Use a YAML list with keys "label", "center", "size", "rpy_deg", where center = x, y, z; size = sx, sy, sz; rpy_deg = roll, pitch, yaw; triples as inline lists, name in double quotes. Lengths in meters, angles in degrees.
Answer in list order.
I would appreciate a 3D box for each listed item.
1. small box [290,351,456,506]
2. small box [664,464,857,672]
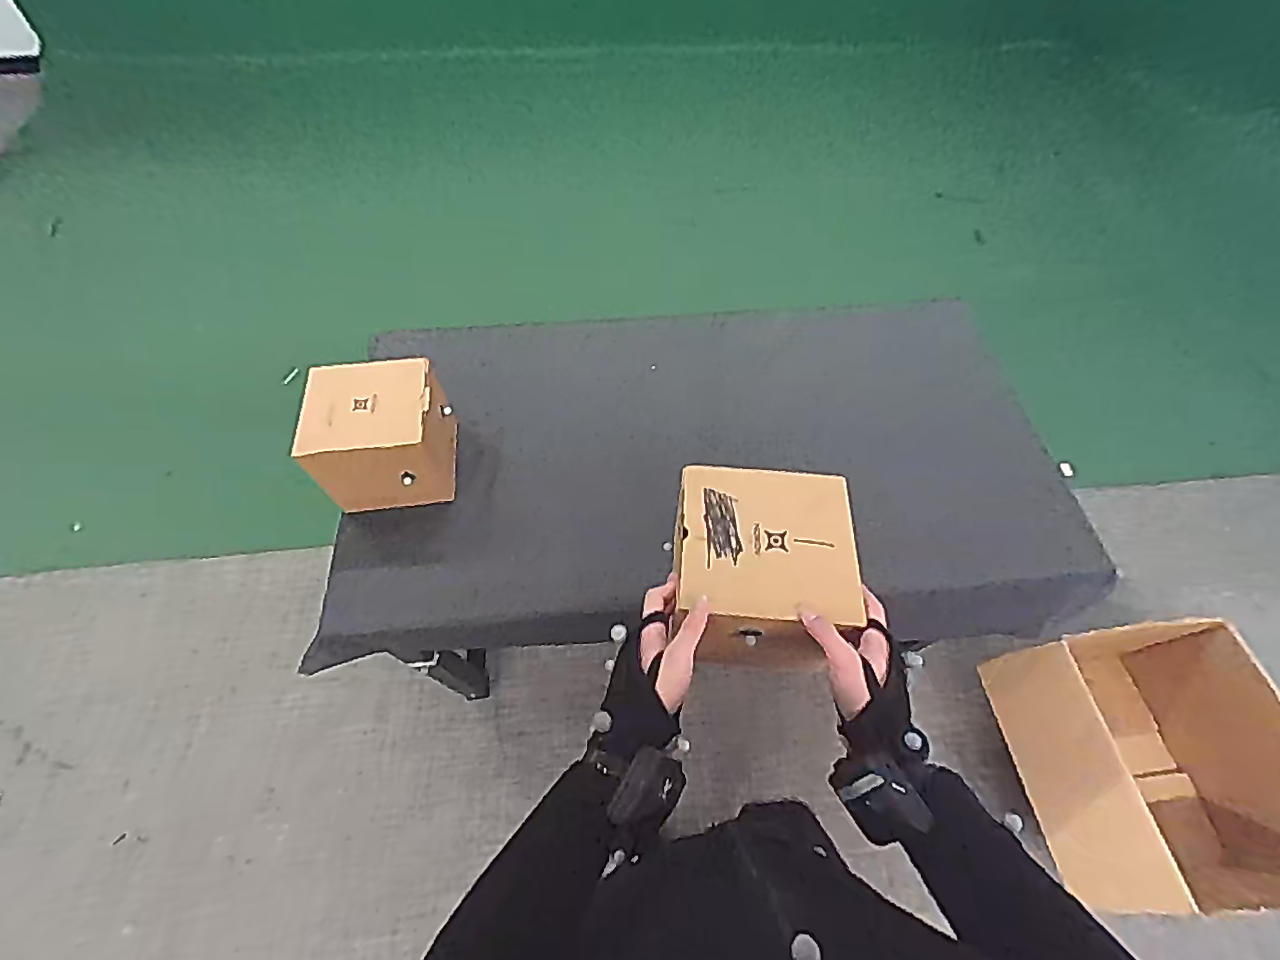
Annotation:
- label: "small box"
  center: [-0.395, -0.075, 0.838]
  size: [0.179, 0.176, 0.168]
  rpy_deg: [-7, 59, -4]
- label: "small box"
  center: [0.123, 0.104, 0.601]
  size: [0.179, 0.176, 0.168]
  rpy_deg: [7, 59, 5]
